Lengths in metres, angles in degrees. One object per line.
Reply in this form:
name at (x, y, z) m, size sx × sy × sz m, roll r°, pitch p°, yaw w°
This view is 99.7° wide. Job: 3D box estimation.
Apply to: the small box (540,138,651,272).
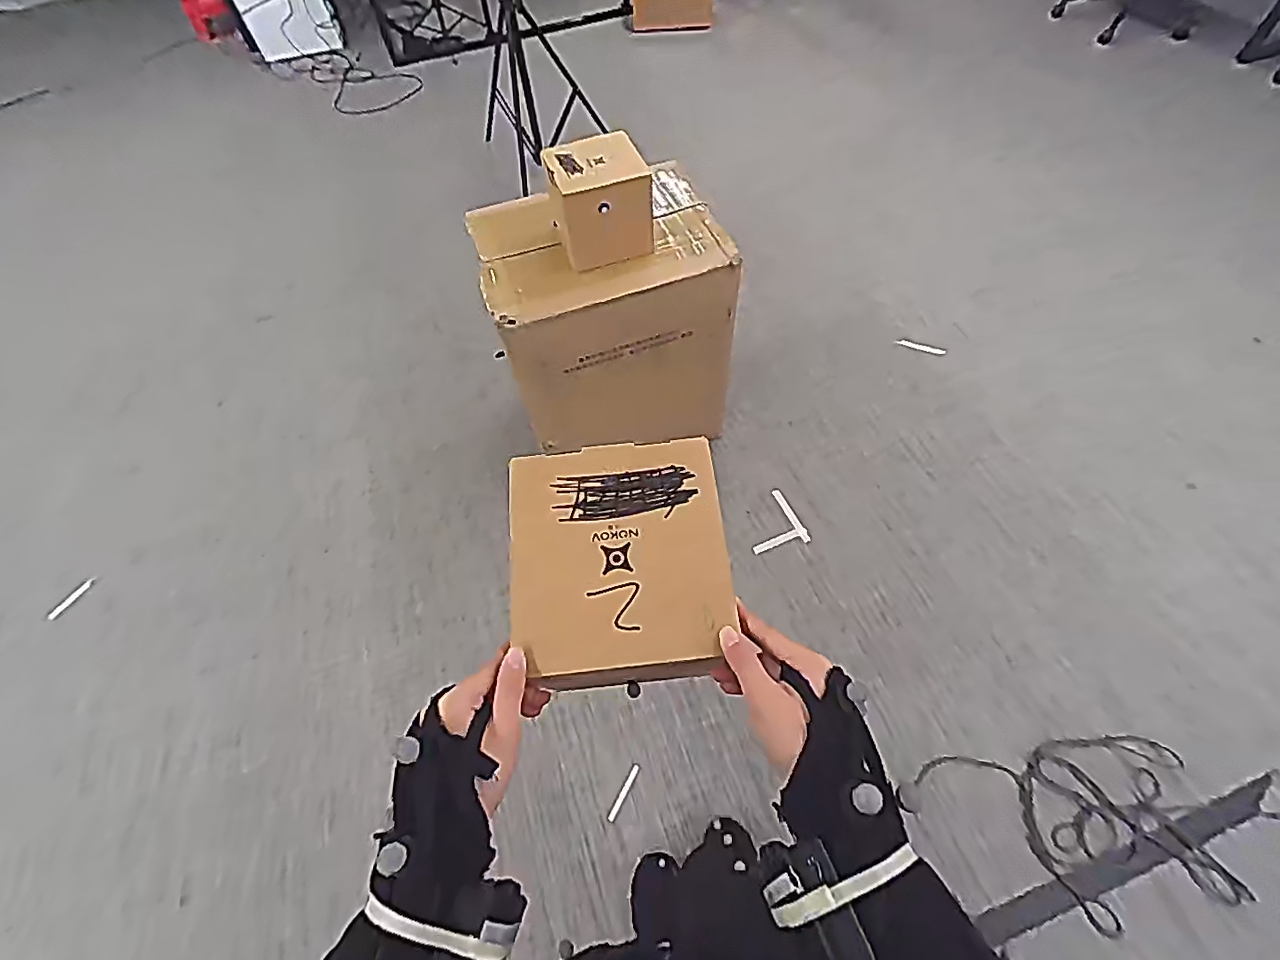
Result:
small box at (-0.085, -0.549, 1.093) m, size 0.179 × 0.176 × 0.168 m, roll -18°, pitch 60°, yaw -8°
